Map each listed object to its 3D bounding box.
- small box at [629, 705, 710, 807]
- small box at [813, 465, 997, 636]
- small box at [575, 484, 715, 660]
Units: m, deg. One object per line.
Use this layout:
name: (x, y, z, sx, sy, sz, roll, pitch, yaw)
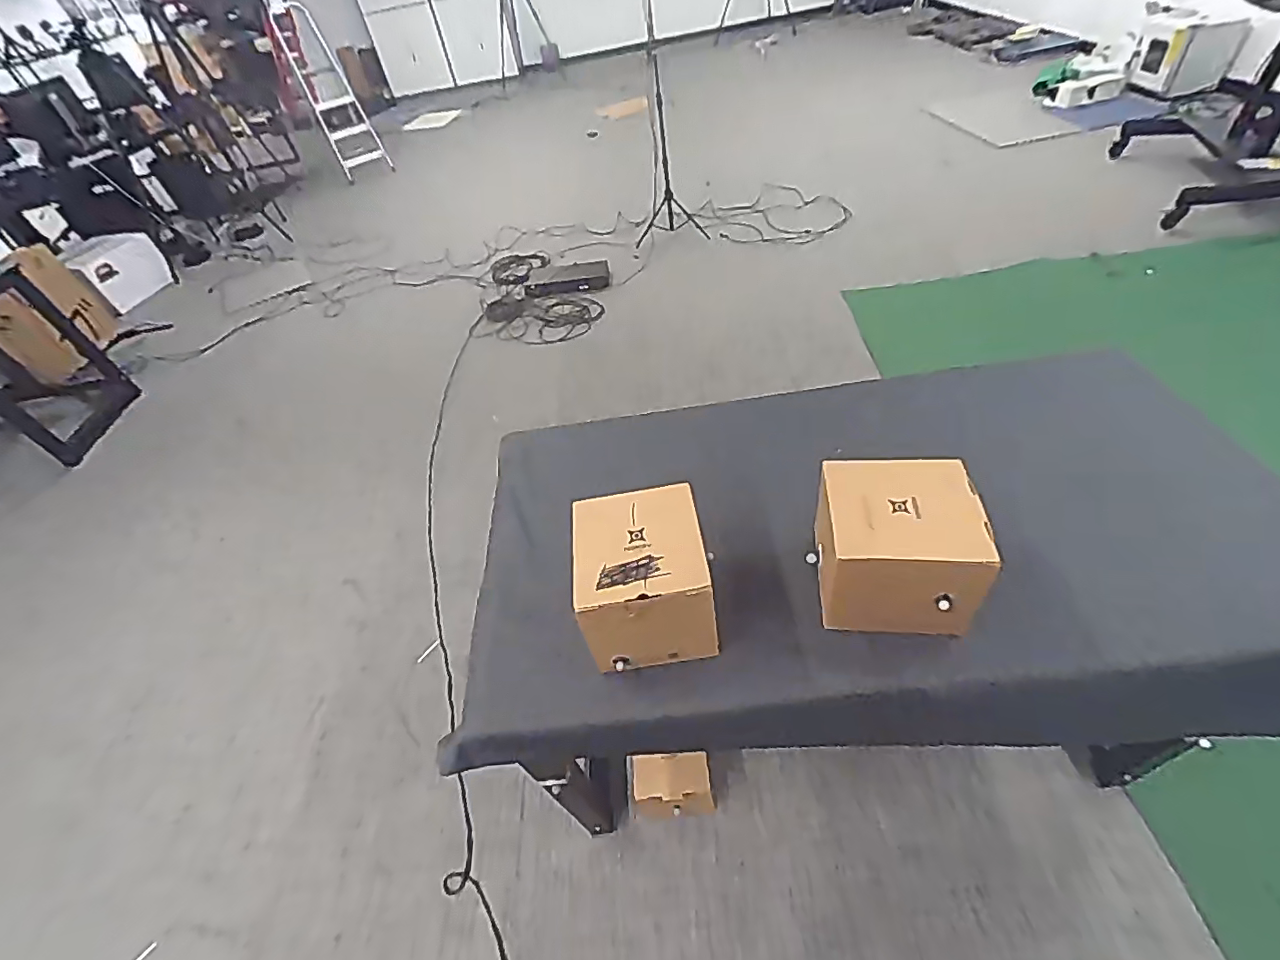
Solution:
small box: (0.069, 0.650, 1.265, 0.168, 0.176, 0.179, -7, 47, 4)
small box: (0.336, 0.096, 0.728, 0.179, 0.176, 0.168, -1, 46, 12)
small box: (0.009, 0.133, 0.749, 0.168, 0.176, 0.179, -8, 45, 2)
